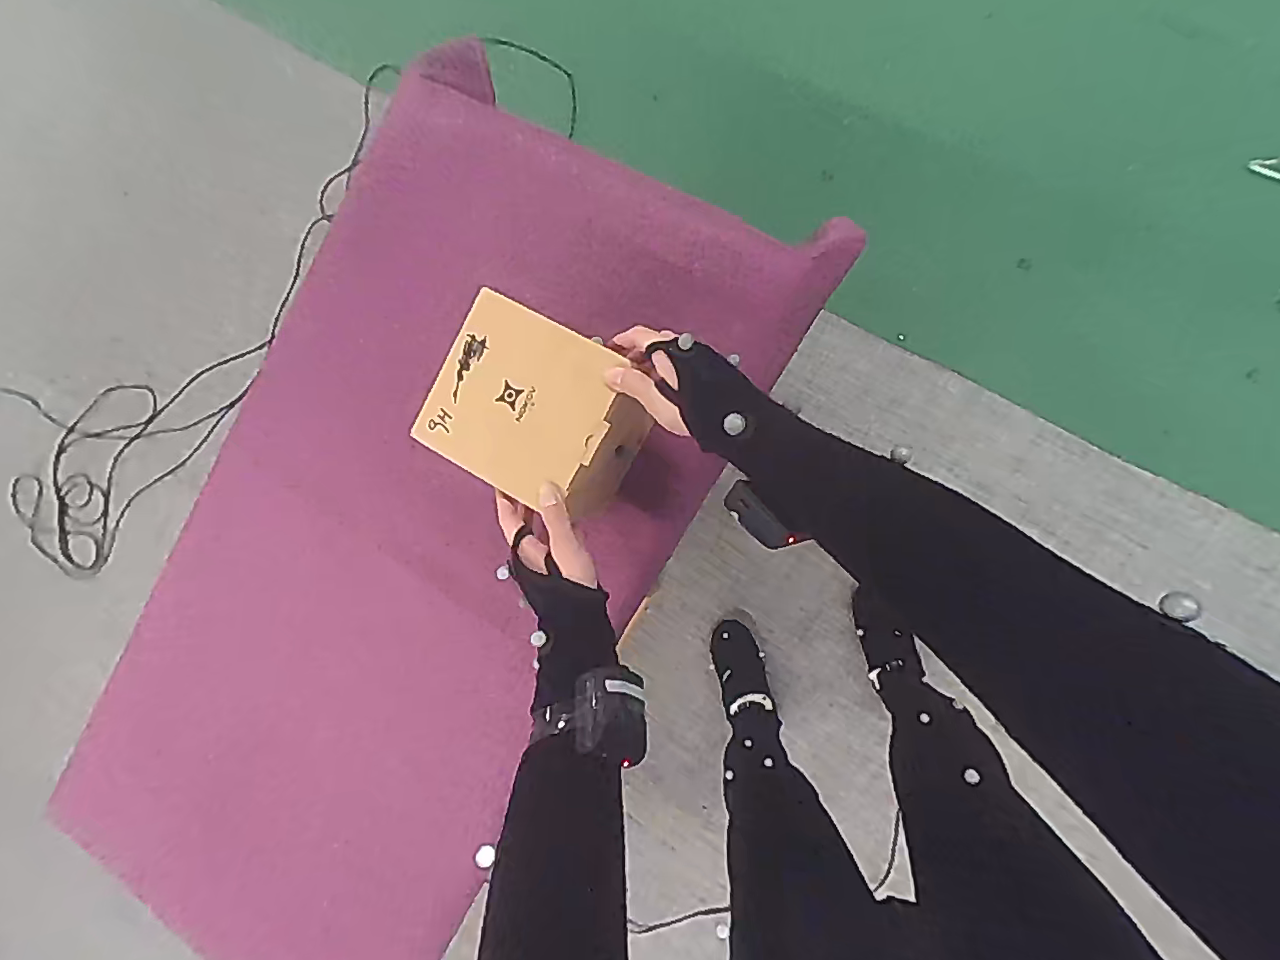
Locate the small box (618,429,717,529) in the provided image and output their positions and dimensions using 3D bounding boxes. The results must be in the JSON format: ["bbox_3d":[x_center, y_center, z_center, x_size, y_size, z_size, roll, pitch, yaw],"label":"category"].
[{"bbox_3d":[0.074,-0.001,1.286,0.168,0.176,0.179,27,94,12],"label":"small box"}]

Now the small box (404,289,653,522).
[{"bbox_3d":[-0.104,-0.072,0.585,0.179,0.176,0.168,29,95,11],"label":"small box"}]

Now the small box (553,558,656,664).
[{"bbox_3d":[-0.076,0.306,1.309,0.168,0.176,0.179,31,95,12],"label":"small box"}]

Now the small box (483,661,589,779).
[{"bbox_3d":[-0.247,0.582,1.336,0.168,0.176,0.179,30,94,12],"label":"small box"}]
